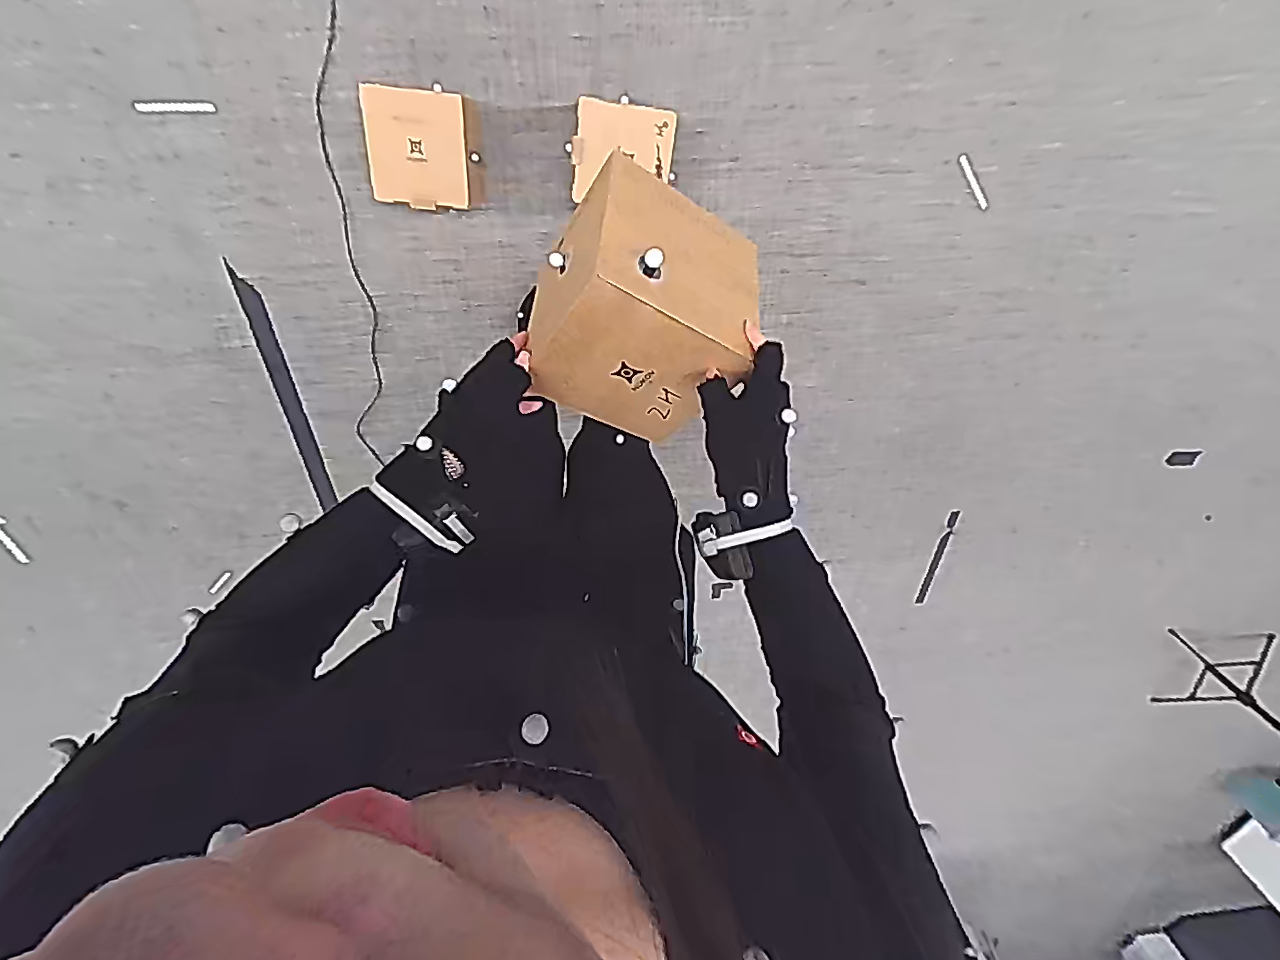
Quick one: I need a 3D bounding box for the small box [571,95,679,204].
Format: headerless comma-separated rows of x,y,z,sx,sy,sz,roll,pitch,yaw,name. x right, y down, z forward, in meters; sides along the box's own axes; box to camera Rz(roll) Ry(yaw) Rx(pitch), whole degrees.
-0.036,-0.617,1.035,0.179,0.176,0.168,4,122,-9,small box

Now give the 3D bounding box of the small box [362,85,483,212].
-0.389,-0.610,1.001,0.168,0.176,0.179,2,122,-8,small box

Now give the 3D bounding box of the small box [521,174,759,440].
0.000,-0.173,0.557,0.179,0.176,0.168,20,147,-26,small box
